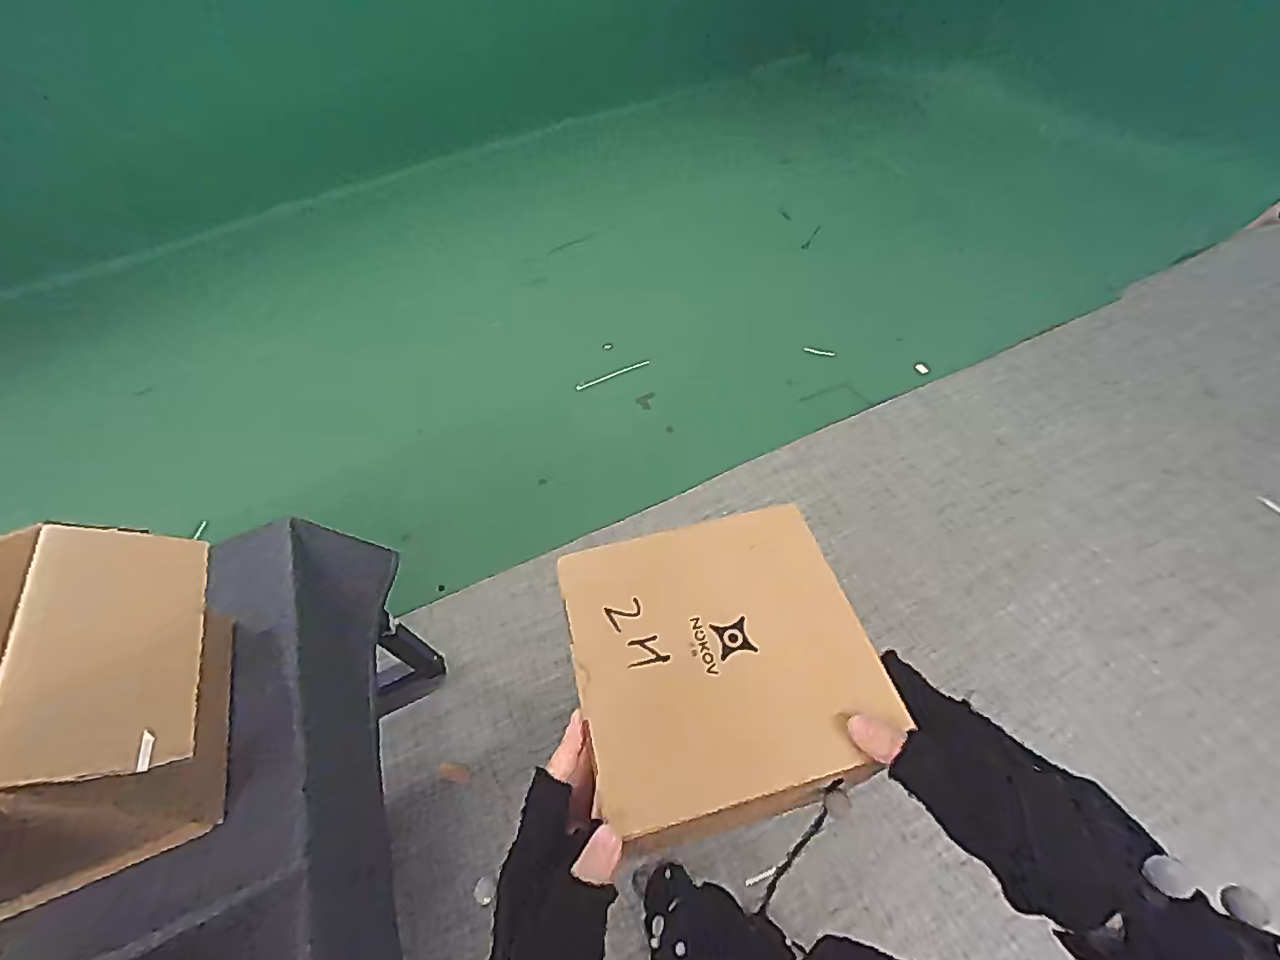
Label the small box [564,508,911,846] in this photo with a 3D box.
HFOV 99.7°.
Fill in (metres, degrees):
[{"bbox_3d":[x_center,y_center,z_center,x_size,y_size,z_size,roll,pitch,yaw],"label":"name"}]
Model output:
[{"bbox_3d":[0.048,0.146,0.393,0.179,0.176,0.168,-11,52,-8],"label":"small box"}]
